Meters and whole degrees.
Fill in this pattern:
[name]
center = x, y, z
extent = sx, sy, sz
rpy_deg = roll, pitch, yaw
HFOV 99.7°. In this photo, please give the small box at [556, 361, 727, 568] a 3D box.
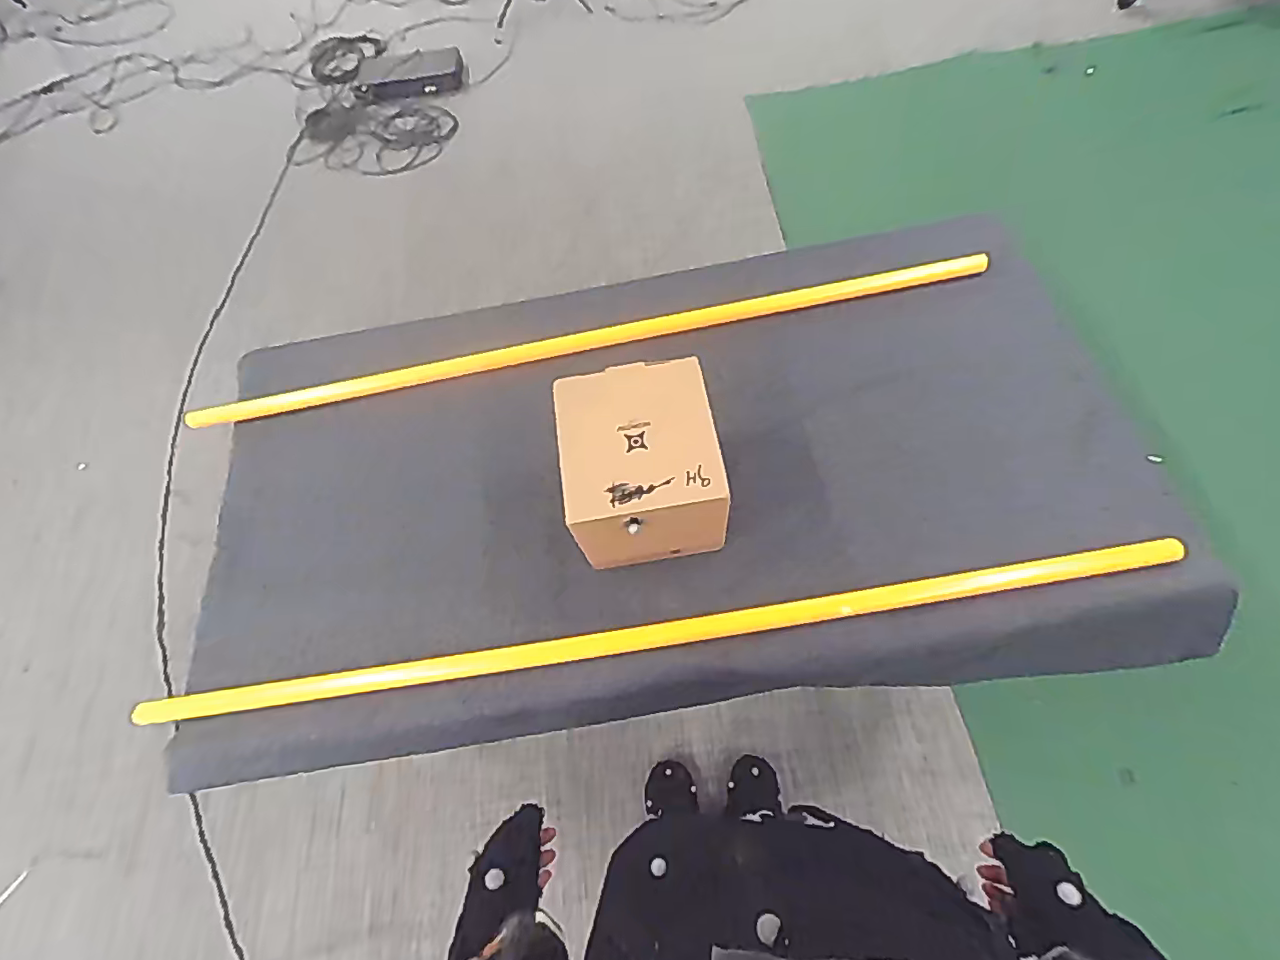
[small box]
center = 0.002, -0.012, 0.646
extent = 0.168, 0.176, 0.179
rpy_deg = -10, 64, 2
